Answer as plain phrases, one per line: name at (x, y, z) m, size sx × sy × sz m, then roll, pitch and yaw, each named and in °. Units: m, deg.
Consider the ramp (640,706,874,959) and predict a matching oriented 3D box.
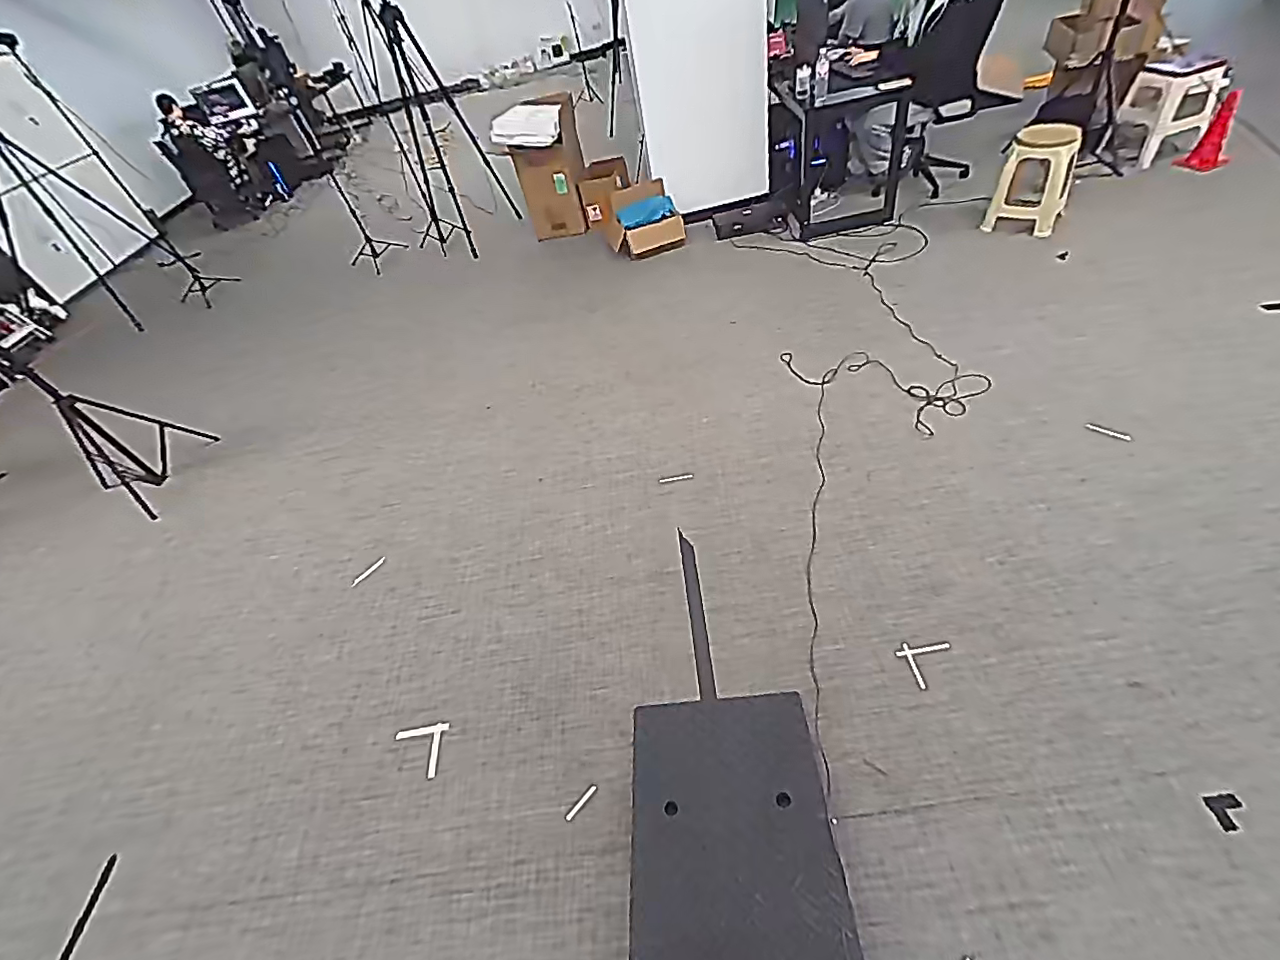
ramp at (0.238, 0.981, 1.186) m, size 0.509 × 0.206 × 0.991 m, roll -12°, pitch 43°, yaw 6°
